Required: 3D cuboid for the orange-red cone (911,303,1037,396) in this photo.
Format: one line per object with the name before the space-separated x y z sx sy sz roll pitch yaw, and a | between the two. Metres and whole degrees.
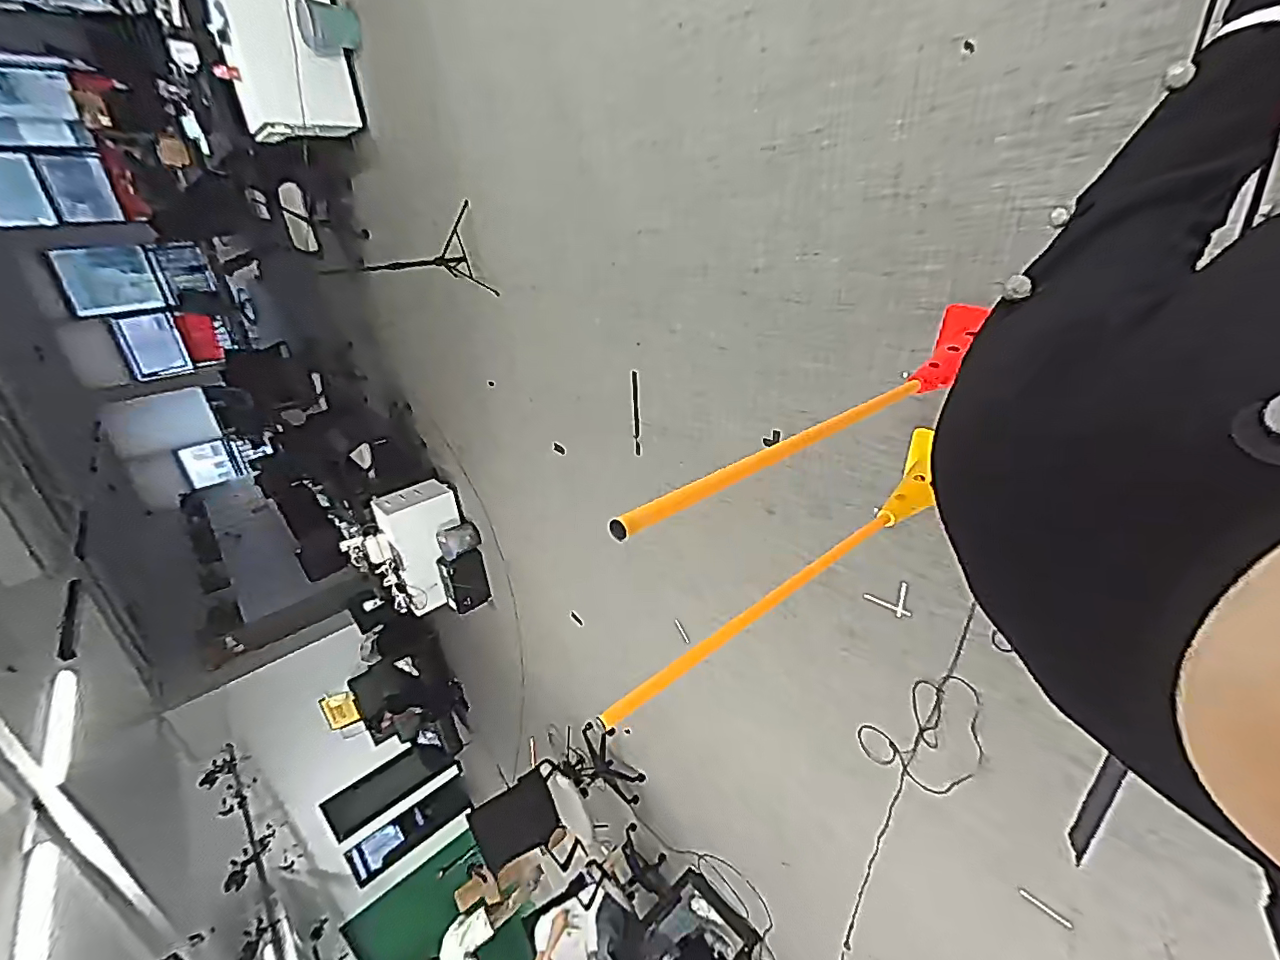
orange-red cone | 0.705 -0.262 1.218 0.198 0.360 0.199 30 130 38
